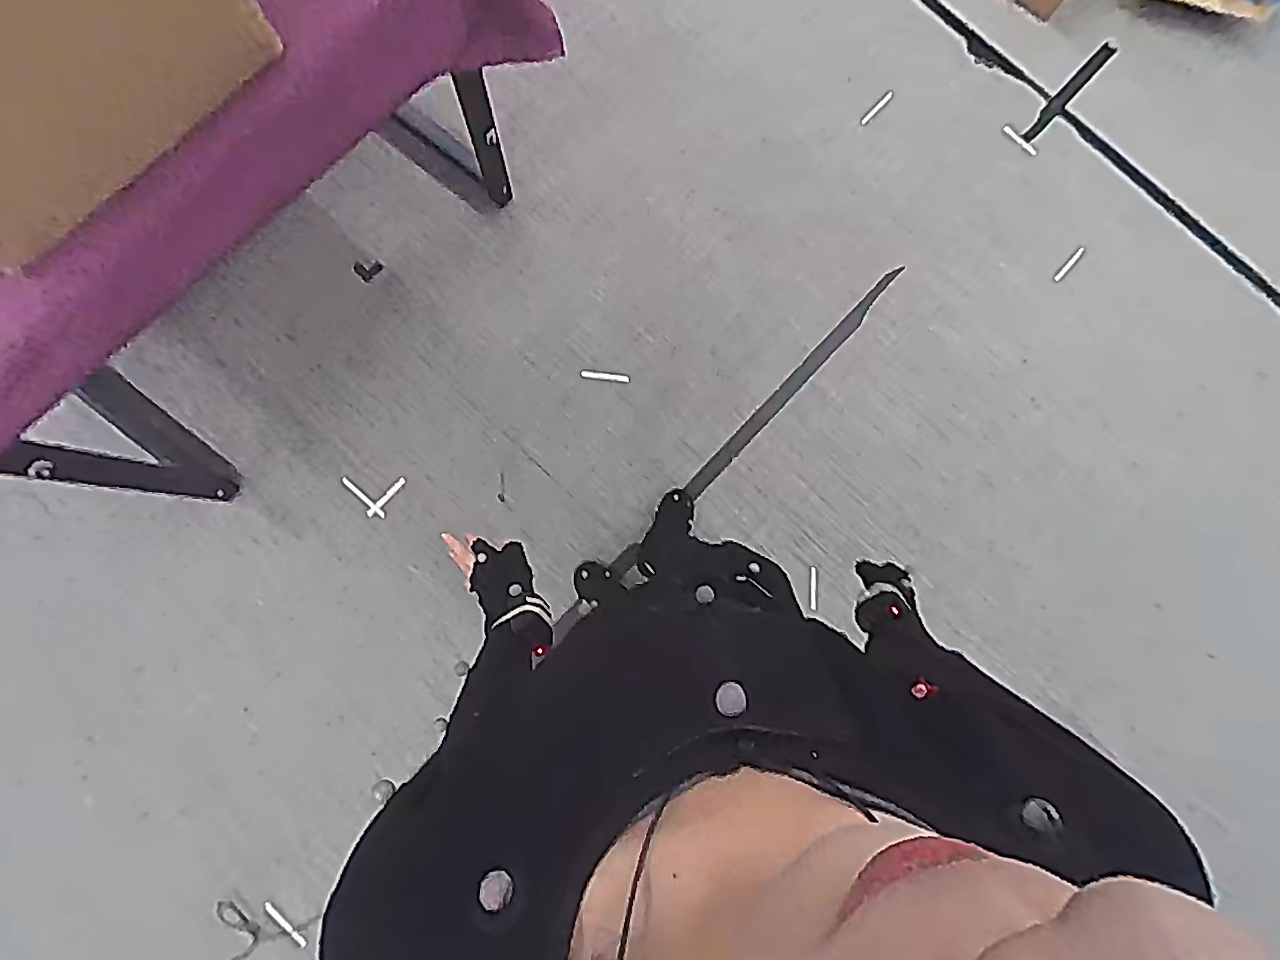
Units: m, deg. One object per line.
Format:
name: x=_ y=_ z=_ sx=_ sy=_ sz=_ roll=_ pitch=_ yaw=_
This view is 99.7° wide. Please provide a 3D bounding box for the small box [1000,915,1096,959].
small box: x=1.054 y=1.243 z=1.346 sx=0.168 sy=0.176 sz=0.179 roll=-44 pitch=86 yaw=-11
